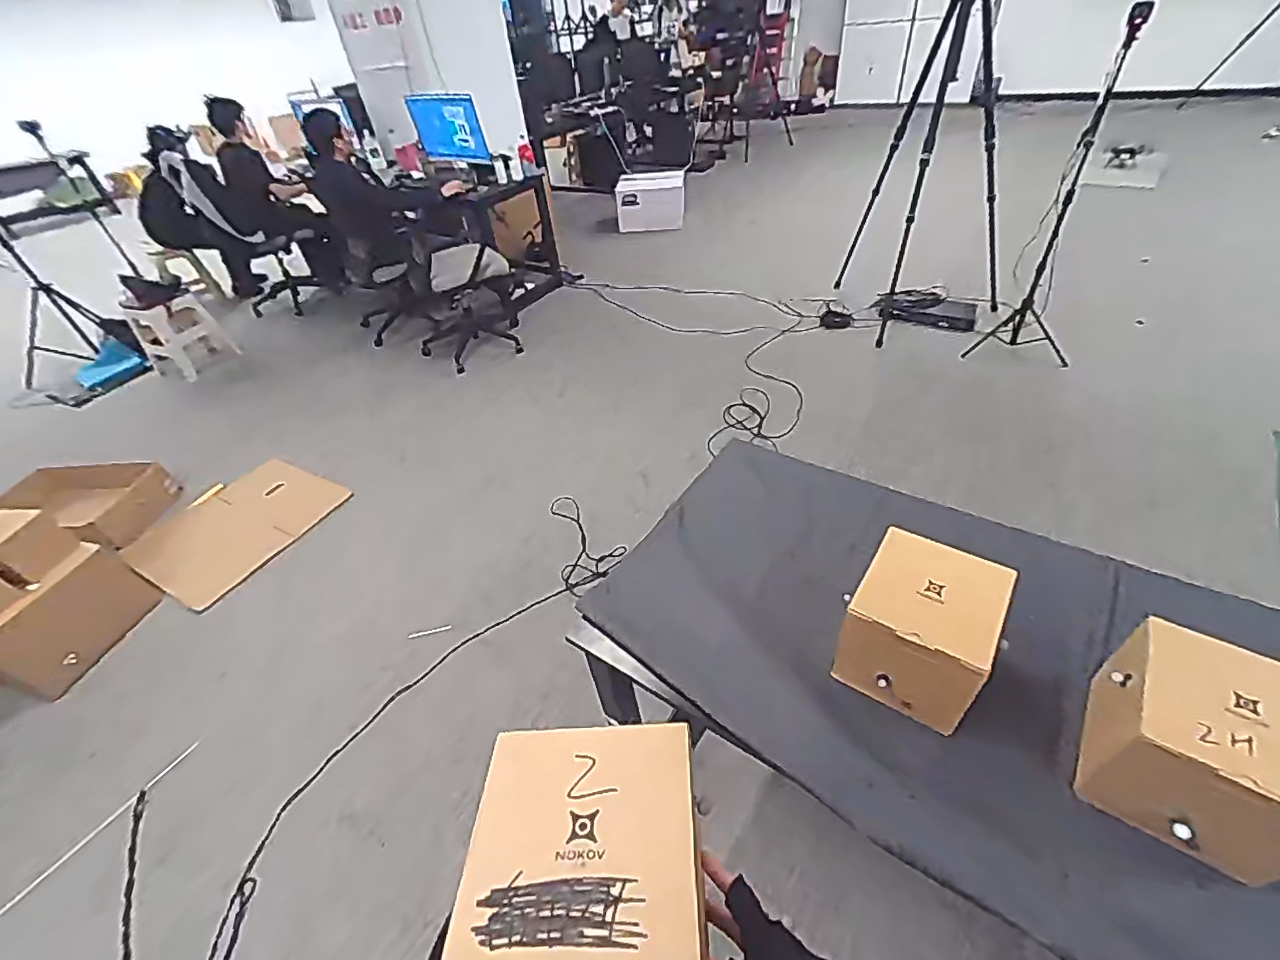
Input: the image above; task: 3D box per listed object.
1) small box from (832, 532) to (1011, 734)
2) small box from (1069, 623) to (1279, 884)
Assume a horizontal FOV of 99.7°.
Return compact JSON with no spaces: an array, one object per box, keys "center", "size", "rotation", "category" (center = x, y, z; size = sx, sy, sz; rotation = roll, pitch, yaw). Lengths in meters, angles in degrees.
[{"center":[0.388,0.213,0.763],"size":[0.168,0.176,0.179],"rotation":[23,49,28],"category":"small box"},{"center":[0.631,0.309,0.621],"size":[0.168,0.176,0.179],"rotation":[23,49,29],"category":"small box"}]
